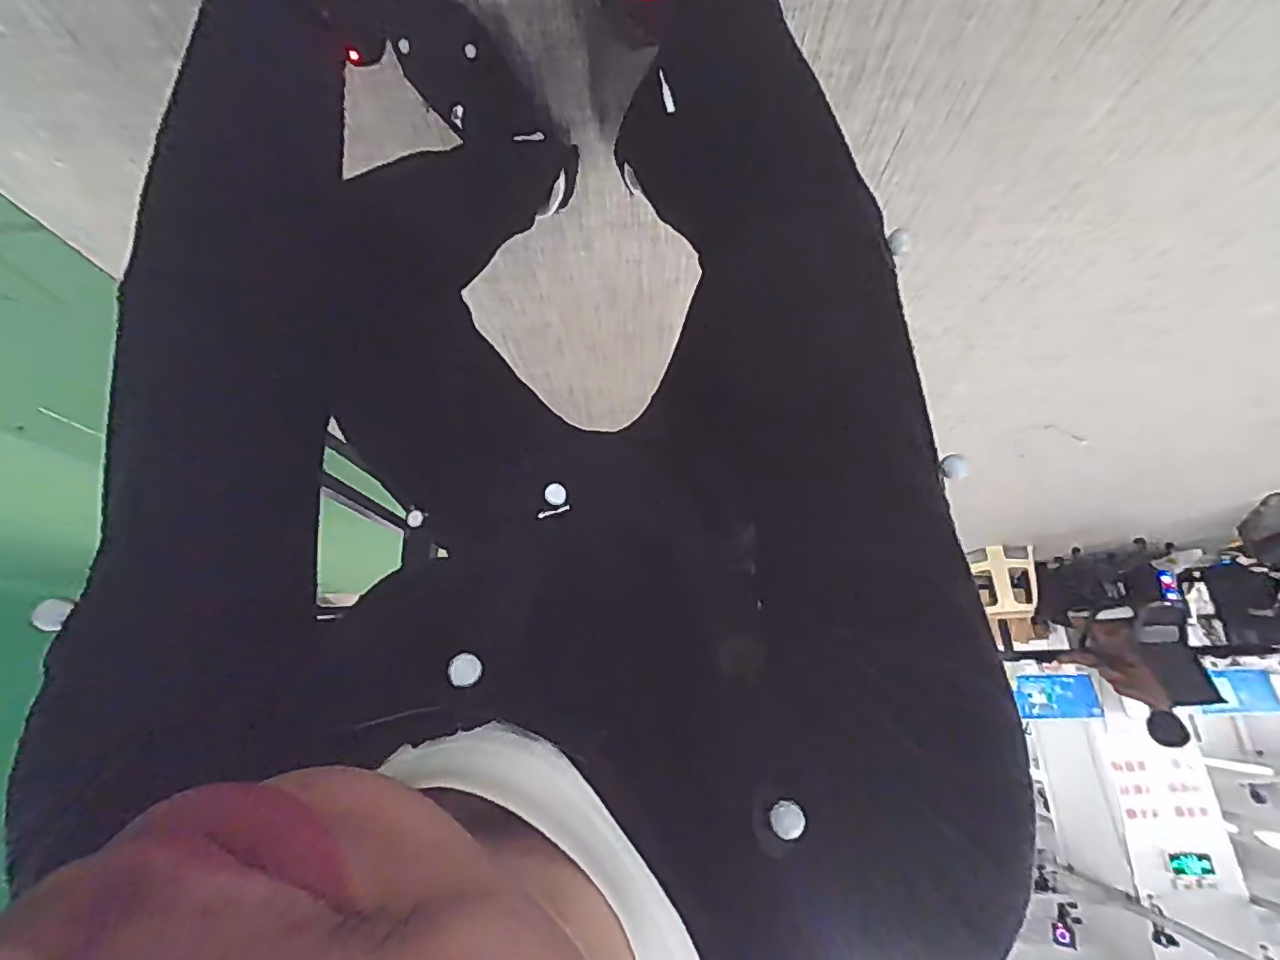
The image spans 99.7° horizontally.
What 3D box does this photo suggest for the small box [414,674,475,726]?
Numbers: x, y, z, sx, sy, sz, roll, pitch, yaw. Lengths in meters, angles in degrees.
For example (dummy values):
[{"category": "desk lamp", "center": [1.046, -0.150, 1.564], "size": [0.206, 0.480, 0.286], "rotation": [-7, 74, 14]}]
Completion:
[{"category": "small box", "center": [-0.725, 0.817, 2.015], "size": [0.168, 0.176, 0.179], "rotation": [-2, 160, 0]}]
